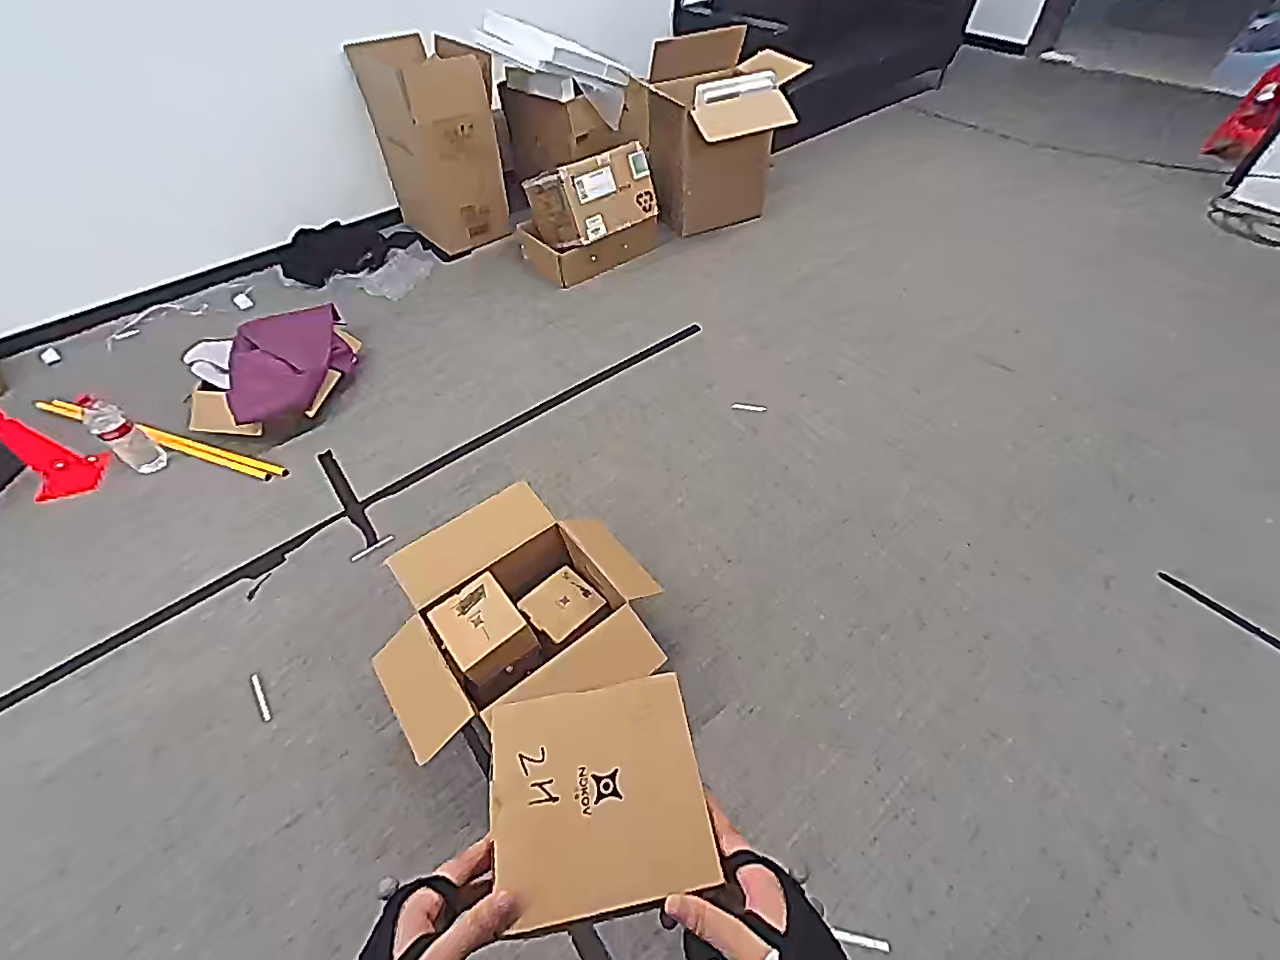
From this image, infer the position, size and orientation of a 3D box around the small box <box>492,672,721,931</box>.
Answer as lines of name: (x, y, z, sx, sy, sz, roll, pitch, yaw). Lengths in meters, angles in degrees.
small box: (-0.035, 0.307, 0.519, 0.179, 0.176, 0.168, -10, 50, -6)
